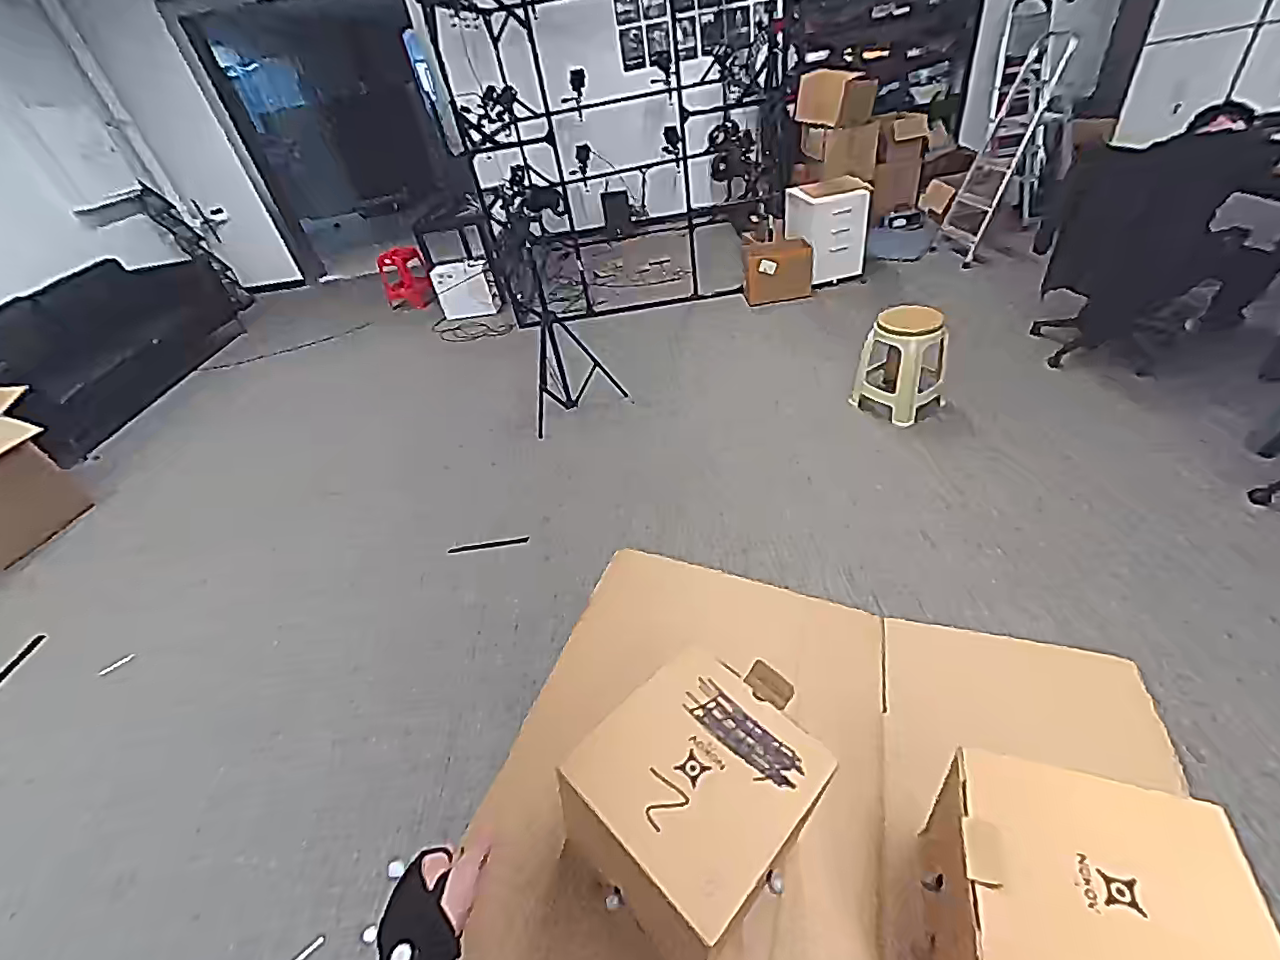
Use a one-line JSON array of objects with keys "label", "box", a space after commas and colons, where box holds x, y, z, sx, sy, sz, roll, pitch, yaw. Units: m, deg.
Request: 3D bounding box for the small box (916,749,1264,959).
[{"label": "small box", "box": [0.334, 0.355, 0.431, 0.179, 0.176, 0.168, 5, 36, 20]}]
